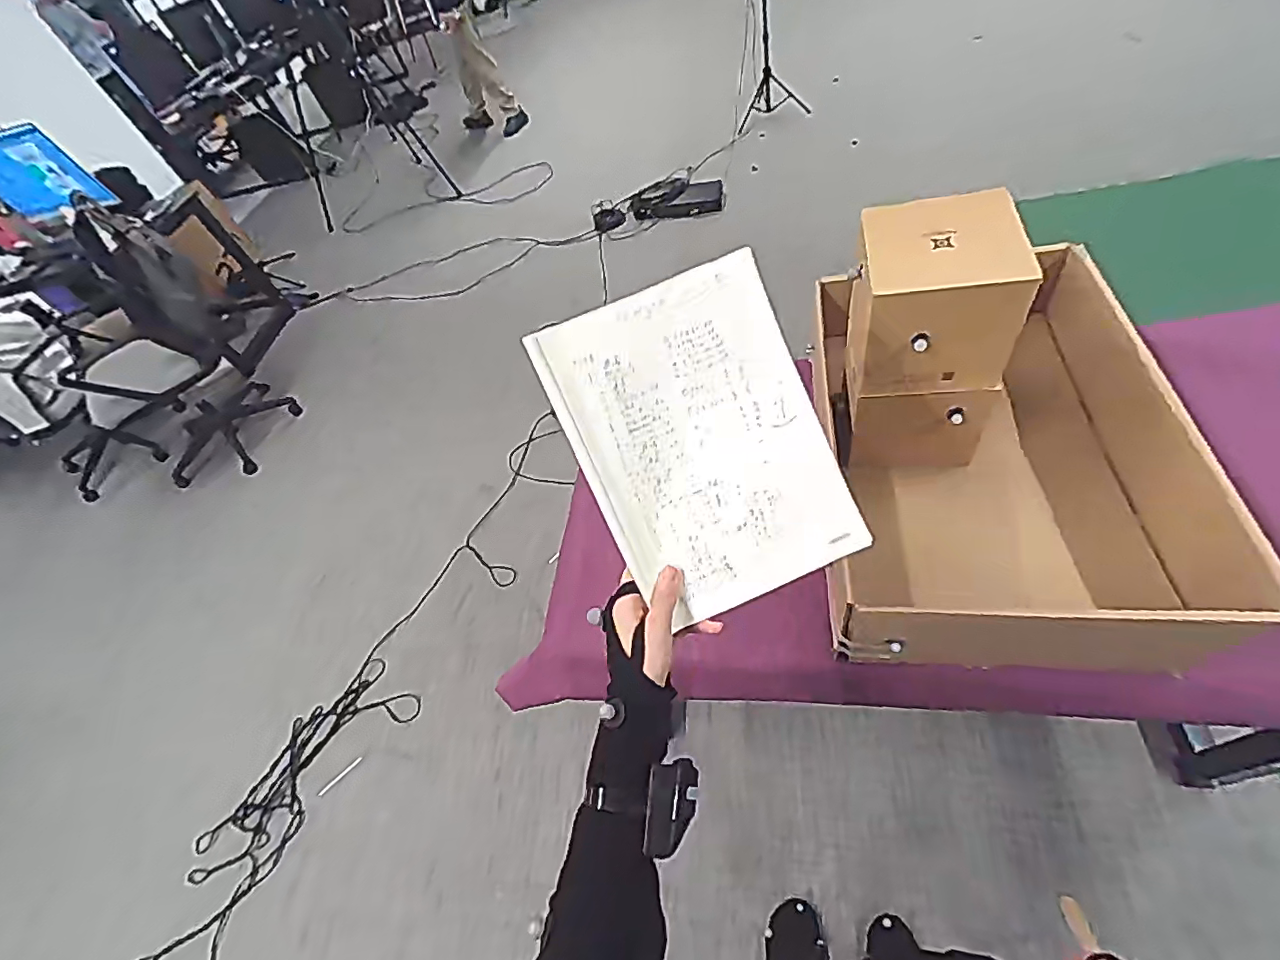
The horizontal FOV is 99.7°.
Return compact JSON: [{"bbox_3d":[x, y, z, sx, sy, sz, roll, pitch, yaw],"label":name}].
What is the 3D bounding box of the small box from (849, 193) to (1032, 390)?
[{"bbox_3d":[0.363,-0.228,0.690,0.168,0.176,0.179,-1,54,16],"label":"small box"}]
